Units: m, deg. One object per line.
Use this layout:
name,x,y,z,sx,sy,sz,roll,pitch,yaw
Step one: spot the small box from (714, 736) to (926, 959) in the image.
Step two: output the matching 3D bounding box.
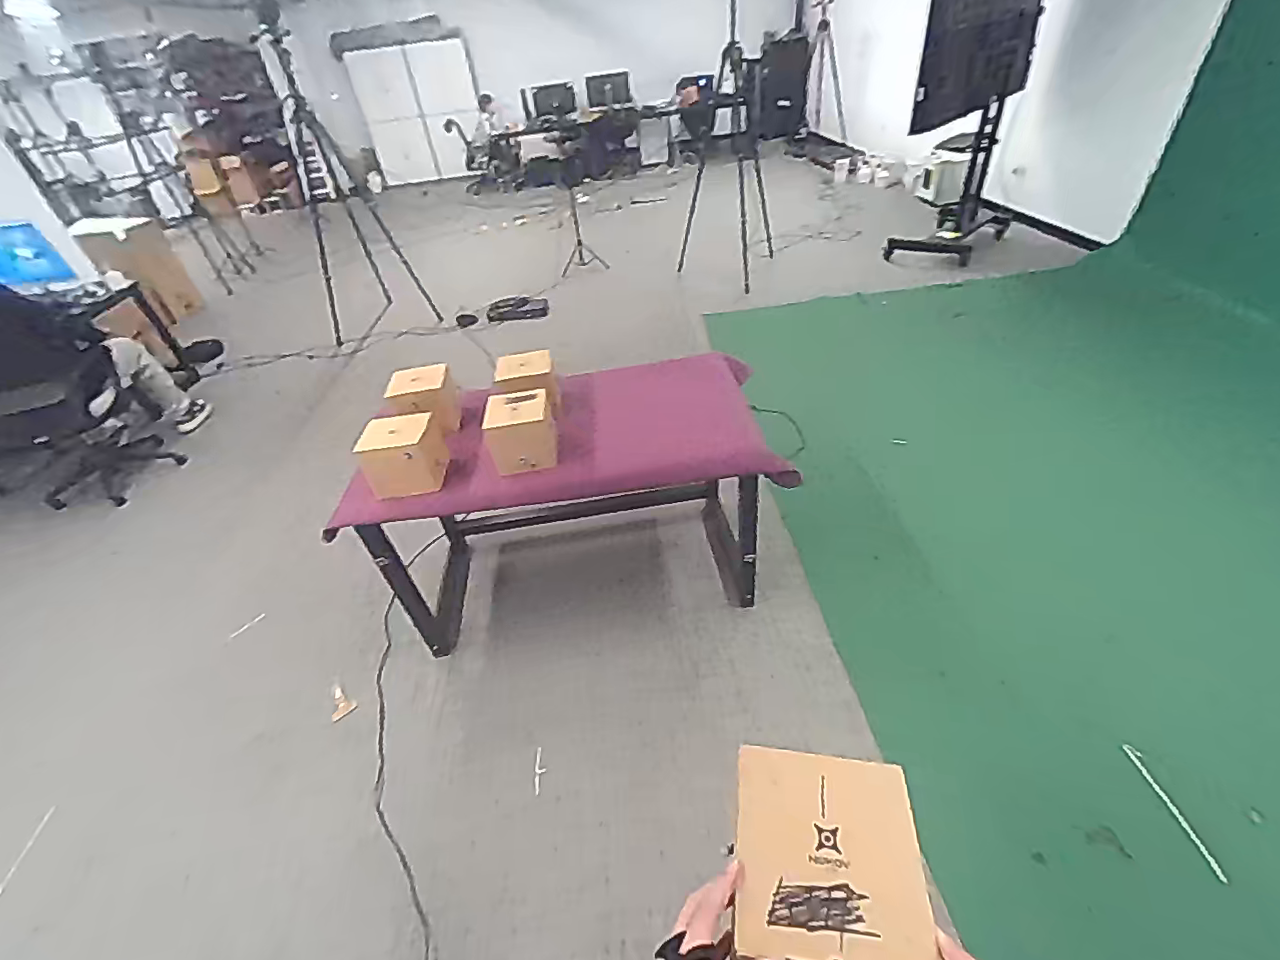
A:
small box,0.162,0.390,0.539,0.168,0.176,0.179,3,38,9

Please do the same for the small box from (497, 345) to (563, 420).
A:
small box,-0.349,-0.313,1.748,0.179,0.176,0.168,-10,39,-1

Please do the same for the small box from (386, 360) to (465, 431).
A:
small box,-0.683,-0.263,1.743,0.179,0.176,0.168,-10,40,-3

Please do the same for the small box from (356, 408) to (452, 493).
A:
small box,-0.655,-0.079,1.520,0.179,0.176,0.168,-8,38,0
